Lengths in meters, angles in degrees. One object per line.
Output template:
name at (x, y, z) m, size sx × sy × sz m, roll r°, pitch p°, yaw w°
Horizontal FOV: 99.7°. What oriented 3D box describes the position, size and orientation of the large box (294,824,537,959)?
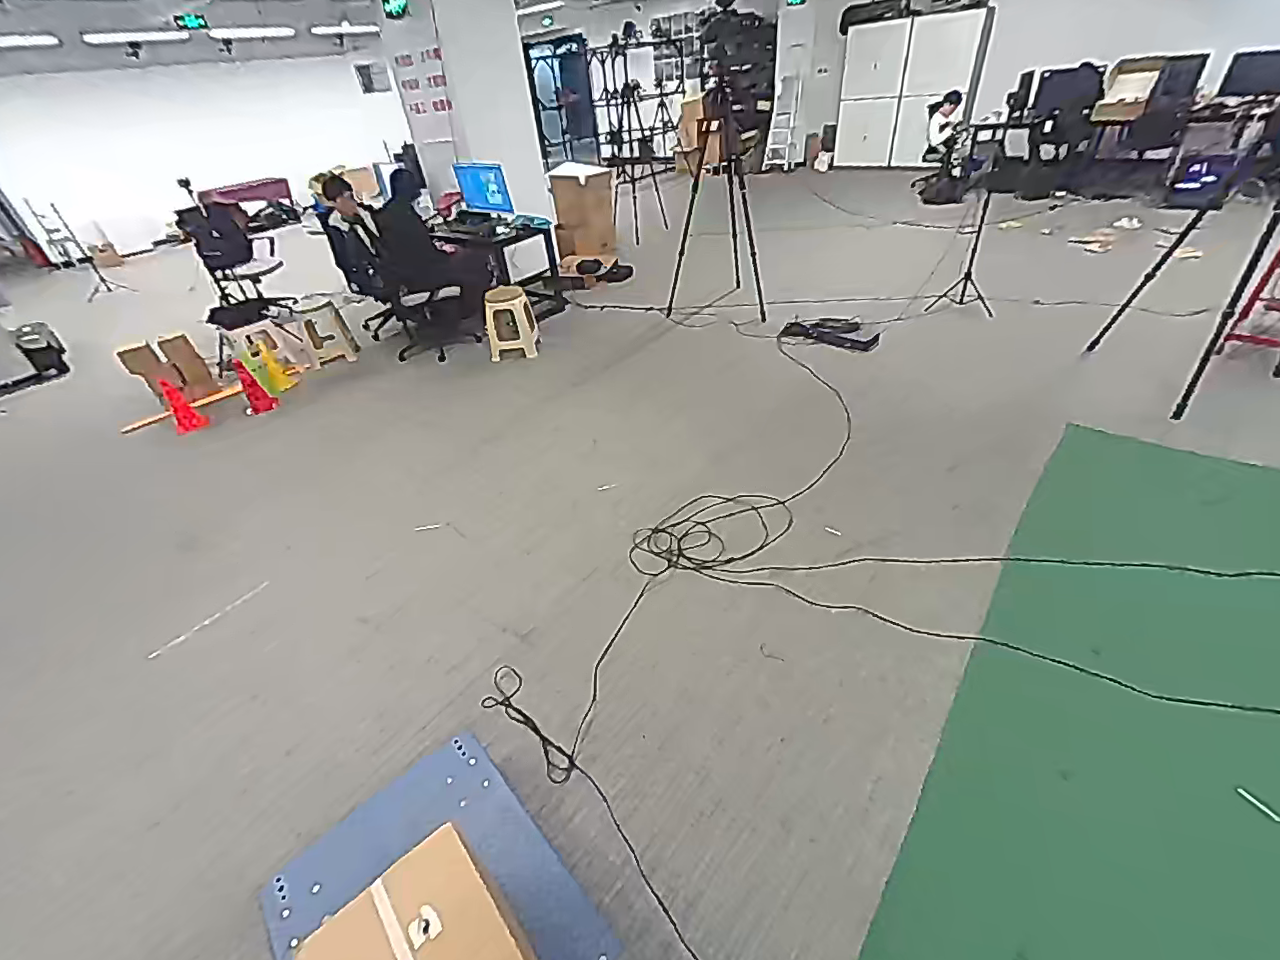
large box at (-0.358, 0.969, 0.998) m, size 0.320 × 0.320 × 0.408 m, roll -30°, pitch 42°, yaw -29°
